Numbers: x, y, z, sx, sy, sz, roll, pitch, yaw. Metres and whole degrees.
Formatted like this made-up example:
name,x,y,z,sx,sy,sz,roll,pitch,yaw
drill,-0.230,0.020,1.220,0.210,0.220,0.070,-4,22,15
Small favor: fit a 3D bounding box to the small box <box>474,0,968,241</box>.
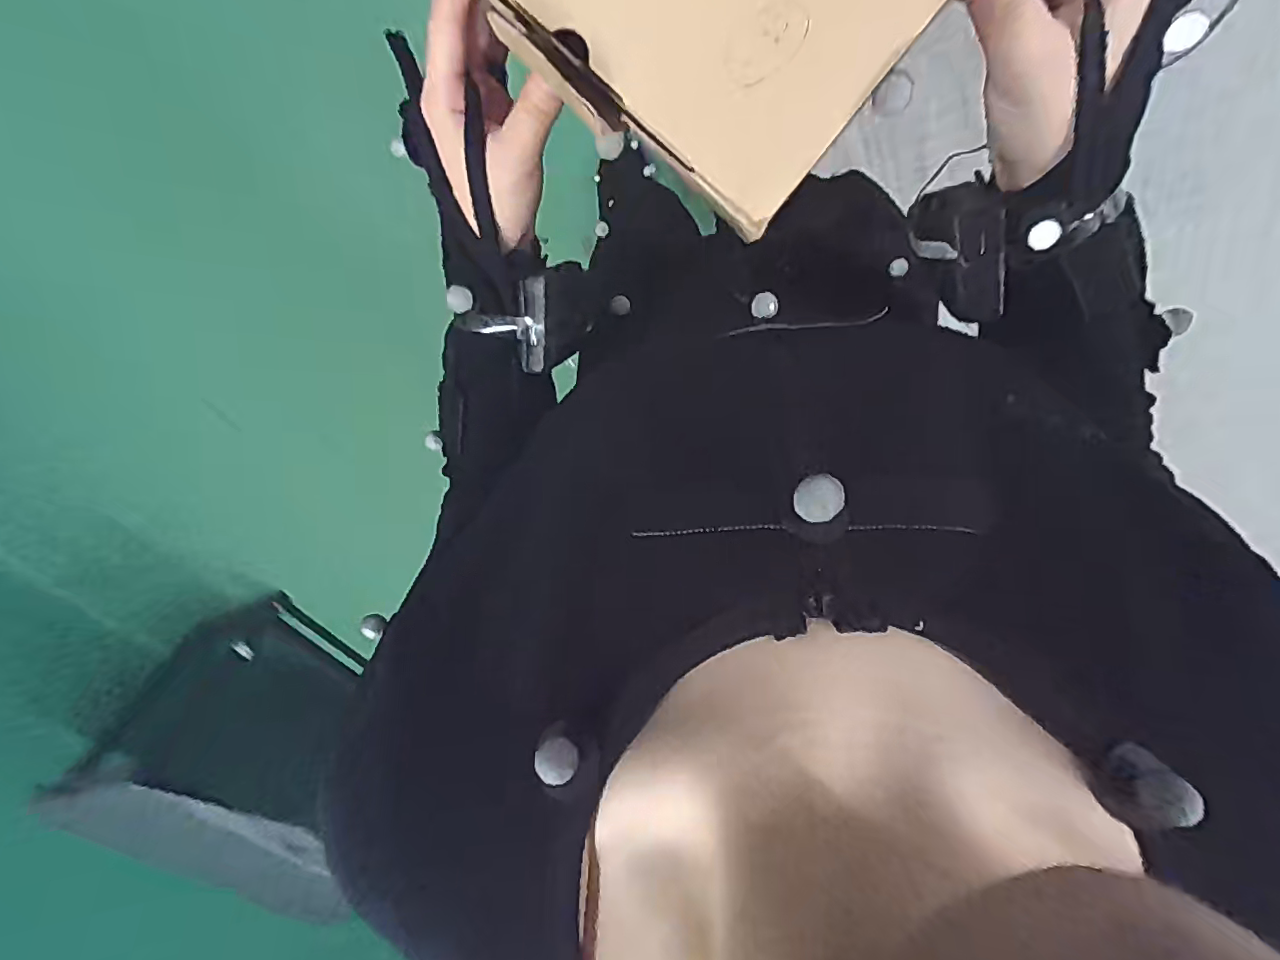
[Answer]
name,x,y,z,sx,sy,sz,roll,pitch,yaw
small box,0.048,-0.223,0.221,0.168,0.176,0.179,40,115,-7
